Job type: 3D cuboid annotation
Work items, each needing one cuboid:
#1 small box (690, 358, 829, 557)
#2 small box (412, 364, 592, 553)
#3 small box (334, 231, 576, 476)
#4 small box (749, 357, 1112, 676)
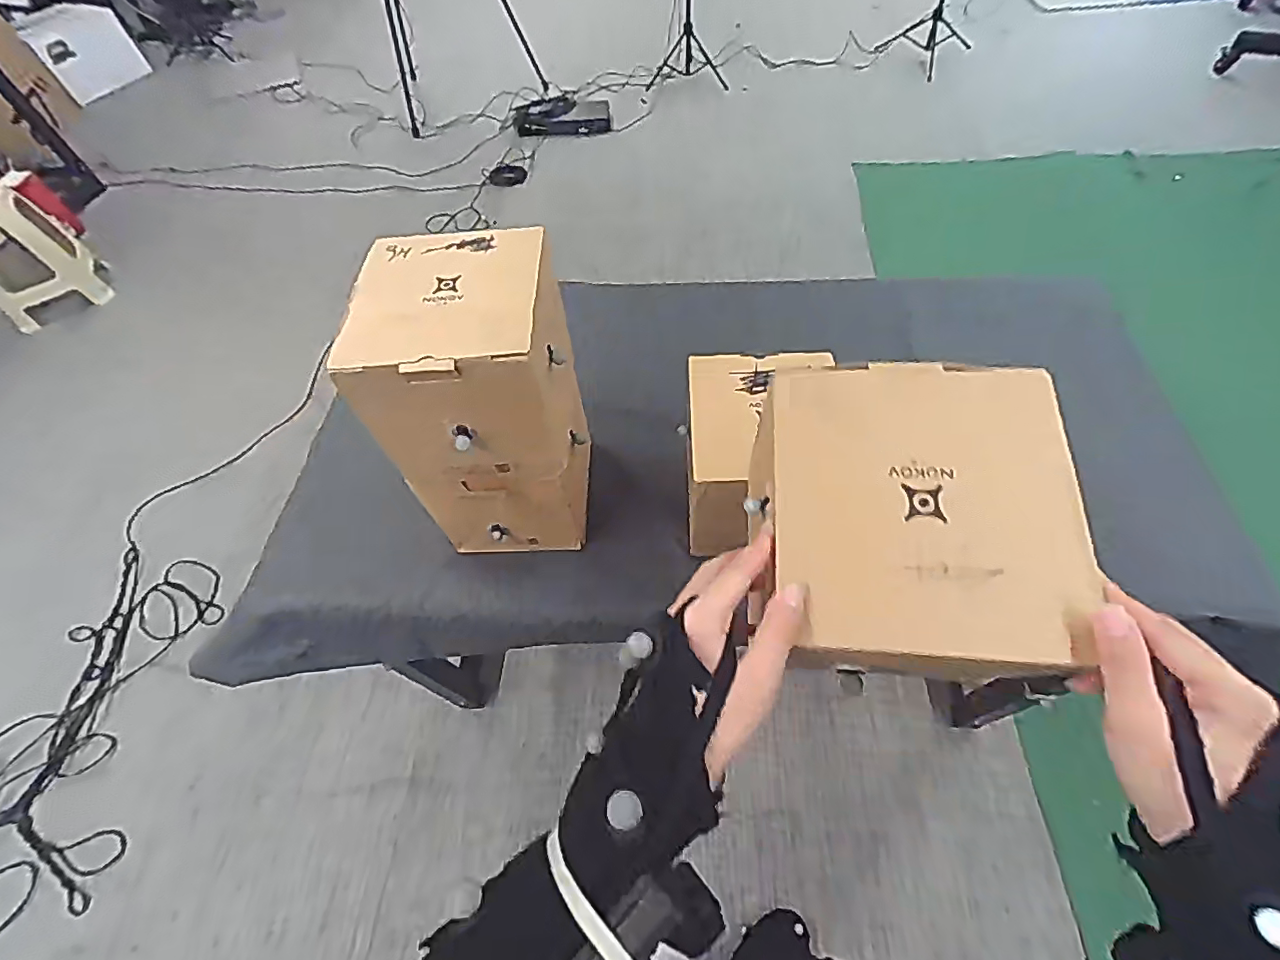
[{"bbox_3d":[0.144,-0.023,0.644,0.168,0.176,0.179,-1,56,4],"label":"small box"},{"bbox_3d":[-0.154,-0.025,0.674,0.168,0.176,0.179,-2,56,3],"label":"small box"},{"bbox_3d":[-0.159,-0.114,0.537,0.168,0.176,0.179,-3,57,2],"label":"small box"},{"bbox_3d":[0.167,0.035,0.381,0.168,0.176,0.179,2,68,7],"label":"small box"}]
